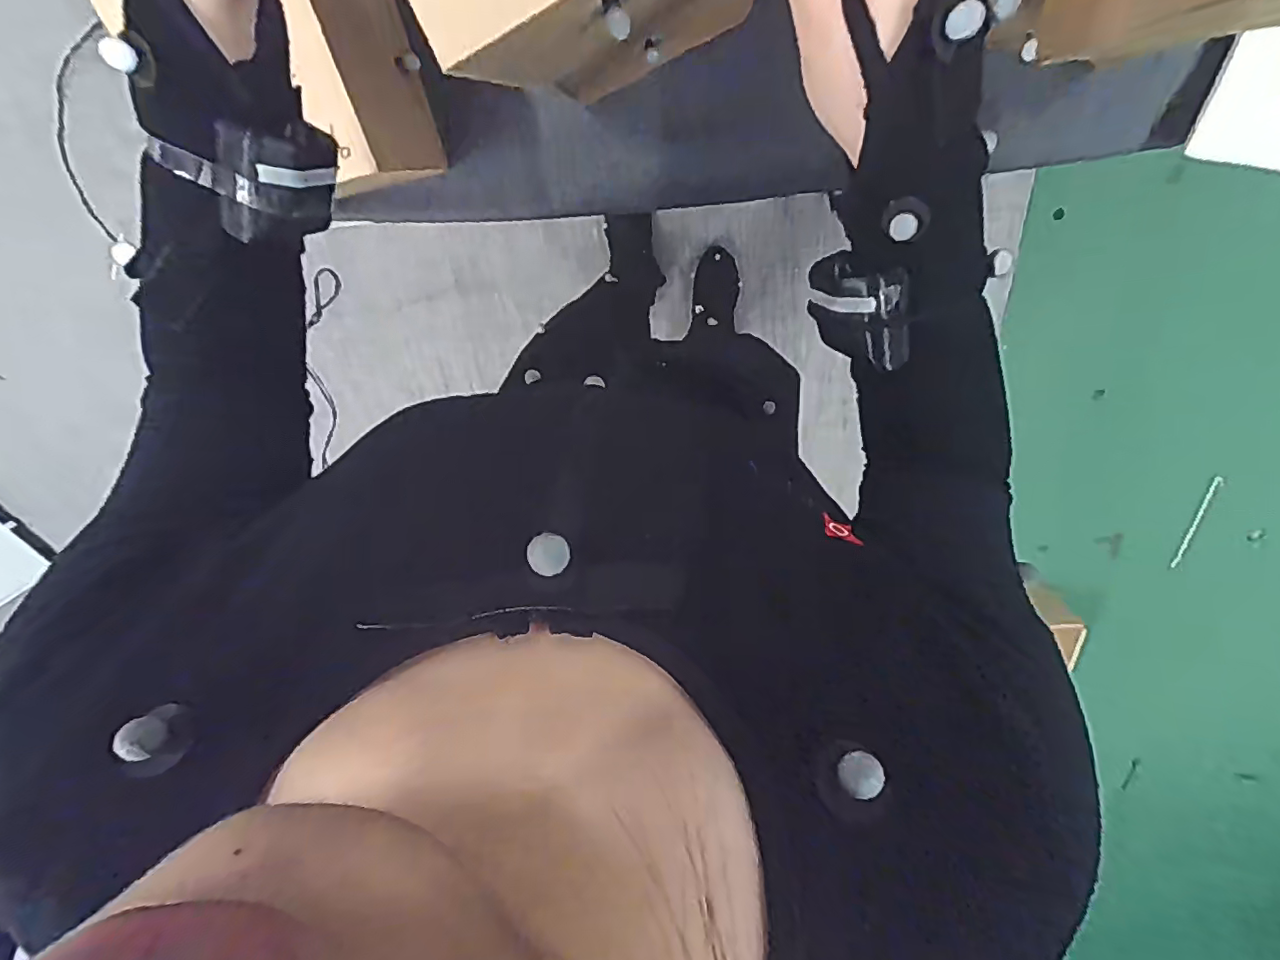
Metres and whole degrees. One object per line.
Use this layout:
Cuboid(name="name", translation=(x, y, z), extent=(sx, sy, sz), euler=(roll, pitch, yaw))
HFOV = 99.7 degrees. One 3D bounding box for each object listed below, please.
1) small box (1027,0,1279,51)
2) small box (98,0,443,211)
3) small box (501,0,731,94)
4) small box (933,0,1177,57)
Cuboid(name="small box", translation=(0.339, -0.335, 0.261), extent=(0.179, 0.176, 0.168), euler=(-4, 120, 8))
Cuboid(name="small box", translation=(-0.311, -0.360, 0.493), extent=(0.168, 0.176, 0.179), euler=(-8, 120, 10))
Cuboid(name="small box", translation=(-0.025, -0.437, 0.426), extent=(0.179, 0.176, 0.168), euler=(-19, 119, 15))
Cuboid(name="small box", translation=(0.346, -0.438, 0.389), extent=(0.168, 0.176, 0.179), euler=(10, 121, 0))
